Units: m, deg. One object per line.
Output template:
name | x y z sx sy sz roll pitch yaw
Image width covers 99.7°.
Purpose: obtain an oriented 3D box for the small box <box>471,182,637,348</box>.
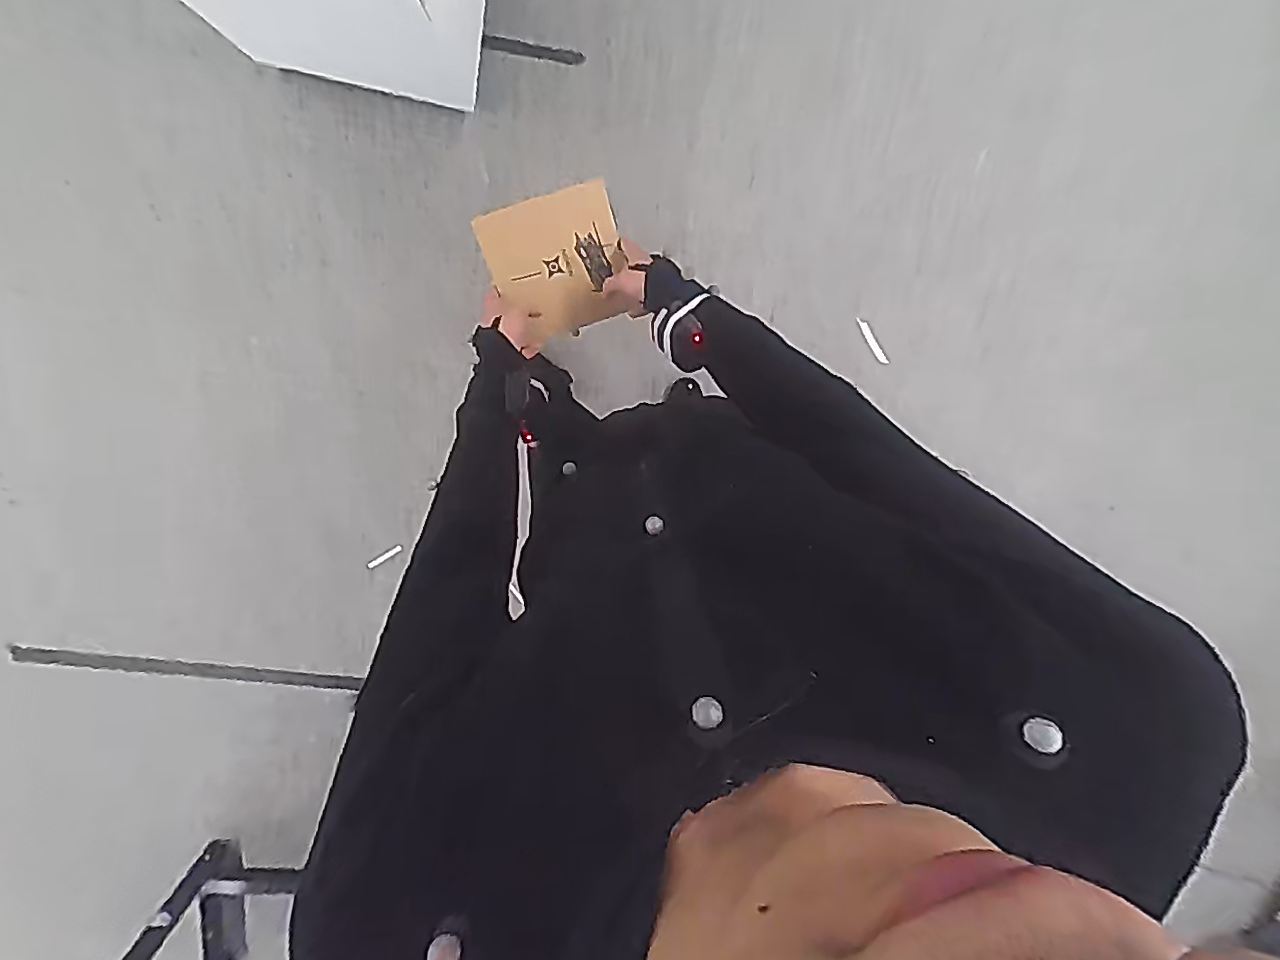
small box | -0.119 -0.302 0.771 0.179 0.176 0.168 -19 111 -2
